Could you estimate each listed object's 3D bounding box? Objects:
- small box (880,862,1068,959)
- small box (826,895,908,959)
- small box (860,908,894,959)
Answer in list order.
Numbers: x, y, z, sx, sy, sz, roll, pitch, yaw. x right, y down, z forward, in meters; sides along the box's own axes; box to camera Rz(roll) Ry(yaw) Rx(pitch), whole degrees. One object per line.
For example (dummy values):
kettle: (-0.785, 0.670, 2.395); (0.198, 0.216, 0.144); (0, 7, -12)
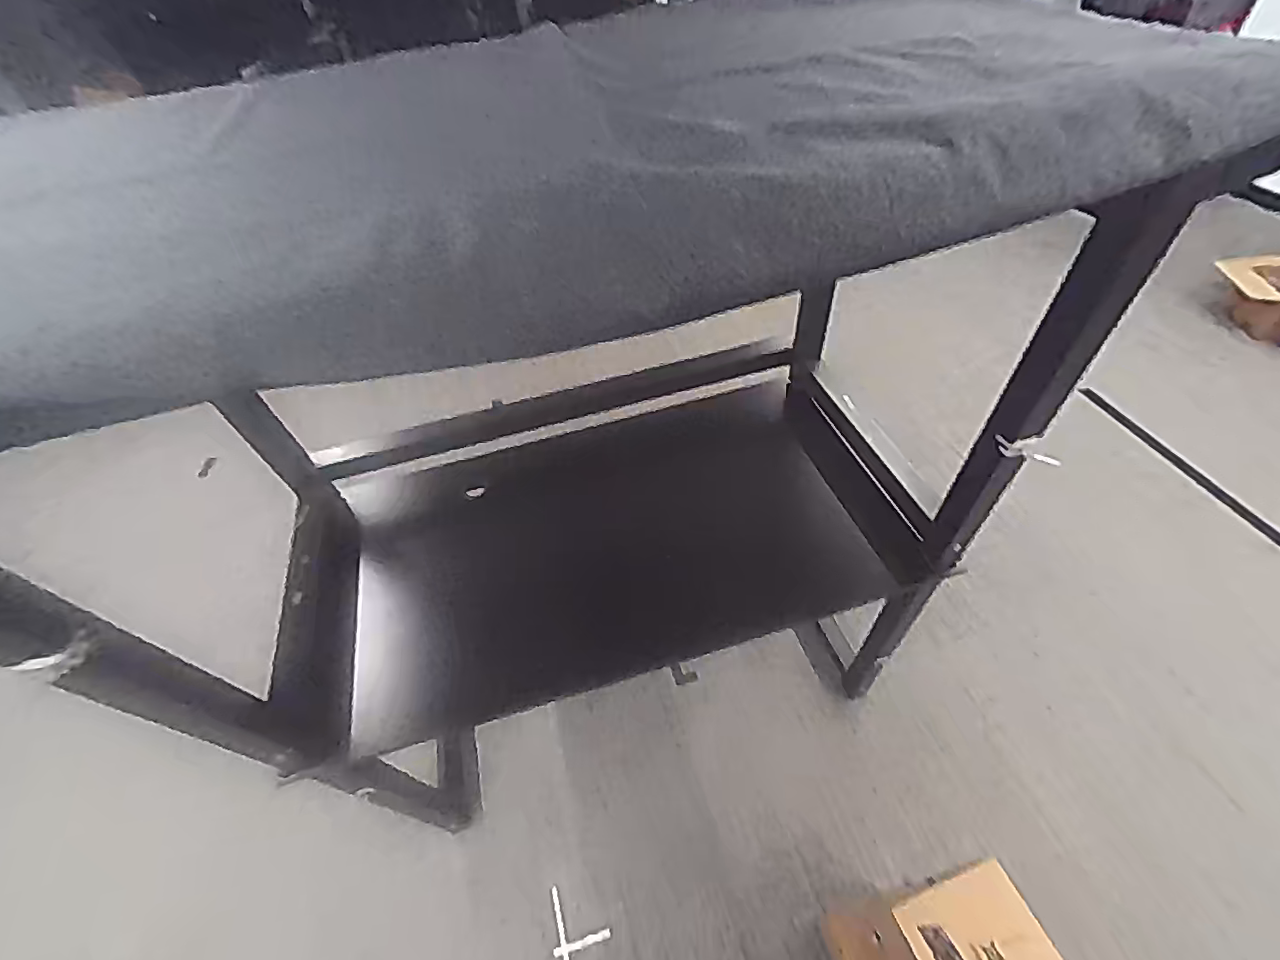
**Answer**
small box: (0.462, 0.669, 0.754); (0.179, 0.176, 0.168); (-18, 50, -9)
small box: (0.511, 0.991, 1.122); (0.179, 0.176, 0.168); (-17, 50, -7)
small box: (0.486, 0.785, 0.869); (0.168, 0.176, 0.179); (-18, 50, -8)
